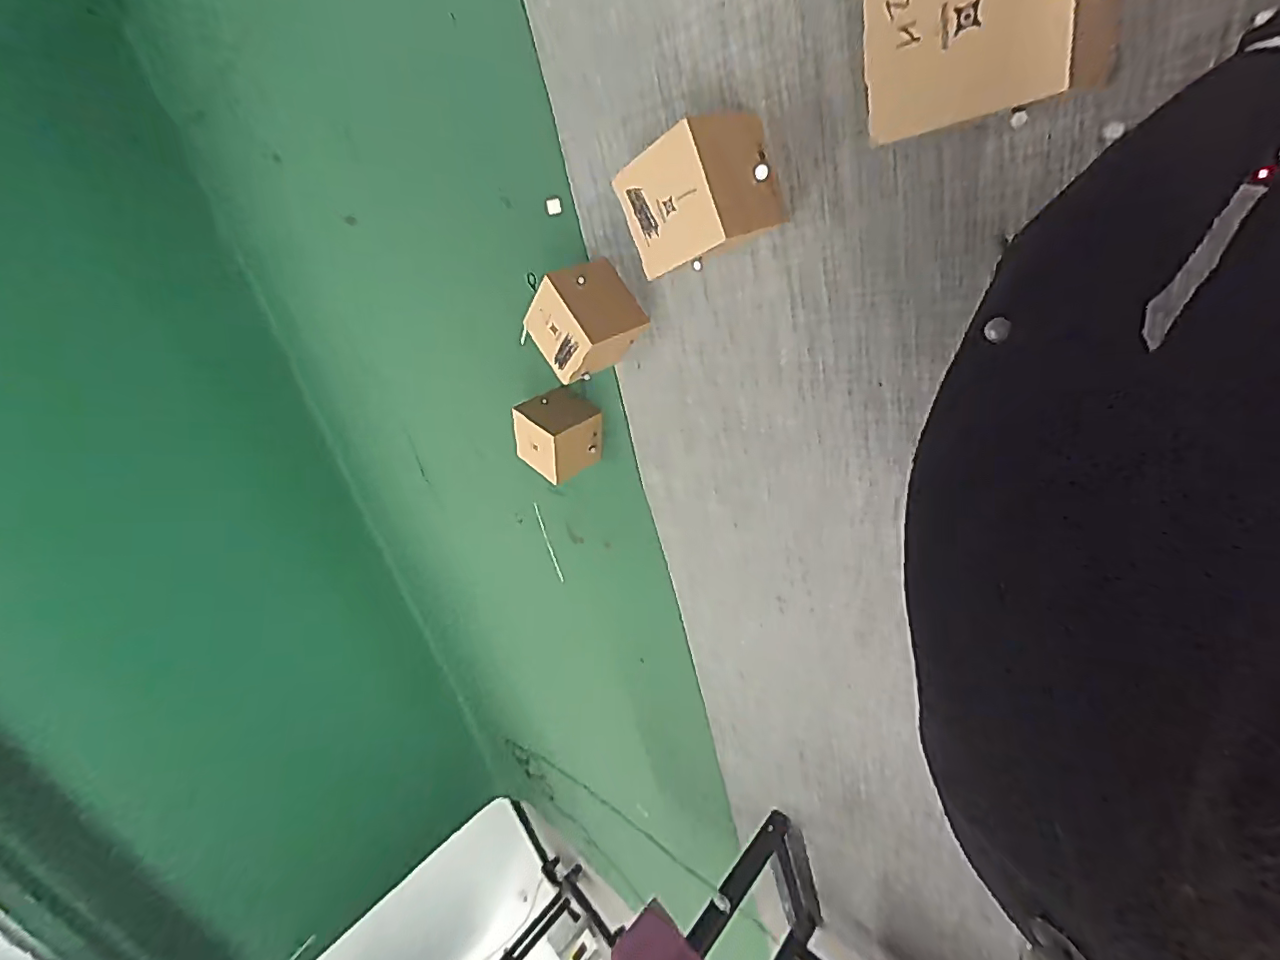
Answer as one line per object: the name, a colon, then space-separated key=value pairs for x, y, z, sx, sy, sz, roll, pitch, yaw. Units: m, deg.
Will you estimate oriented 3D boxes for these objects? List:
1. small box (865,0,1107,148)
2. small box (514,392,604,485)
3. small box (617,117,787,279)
small box: x=0.349 y=-0.454 z=0.543 sx=0.179 sy=0.176 sz=0.168 roll=12 pitch=123 yaw=45
small box: x=-0.221 y=-0.121 z=1.472 sx=0.179 sy=0.176 sz=0.168 roll=35 pitch=138 yaw=30
small box: x=0.099 y=-0.439 z=0.852 sx=0.179 sy=0.176 sz=0.168 roll=-5 pitch=111 yaw=50
